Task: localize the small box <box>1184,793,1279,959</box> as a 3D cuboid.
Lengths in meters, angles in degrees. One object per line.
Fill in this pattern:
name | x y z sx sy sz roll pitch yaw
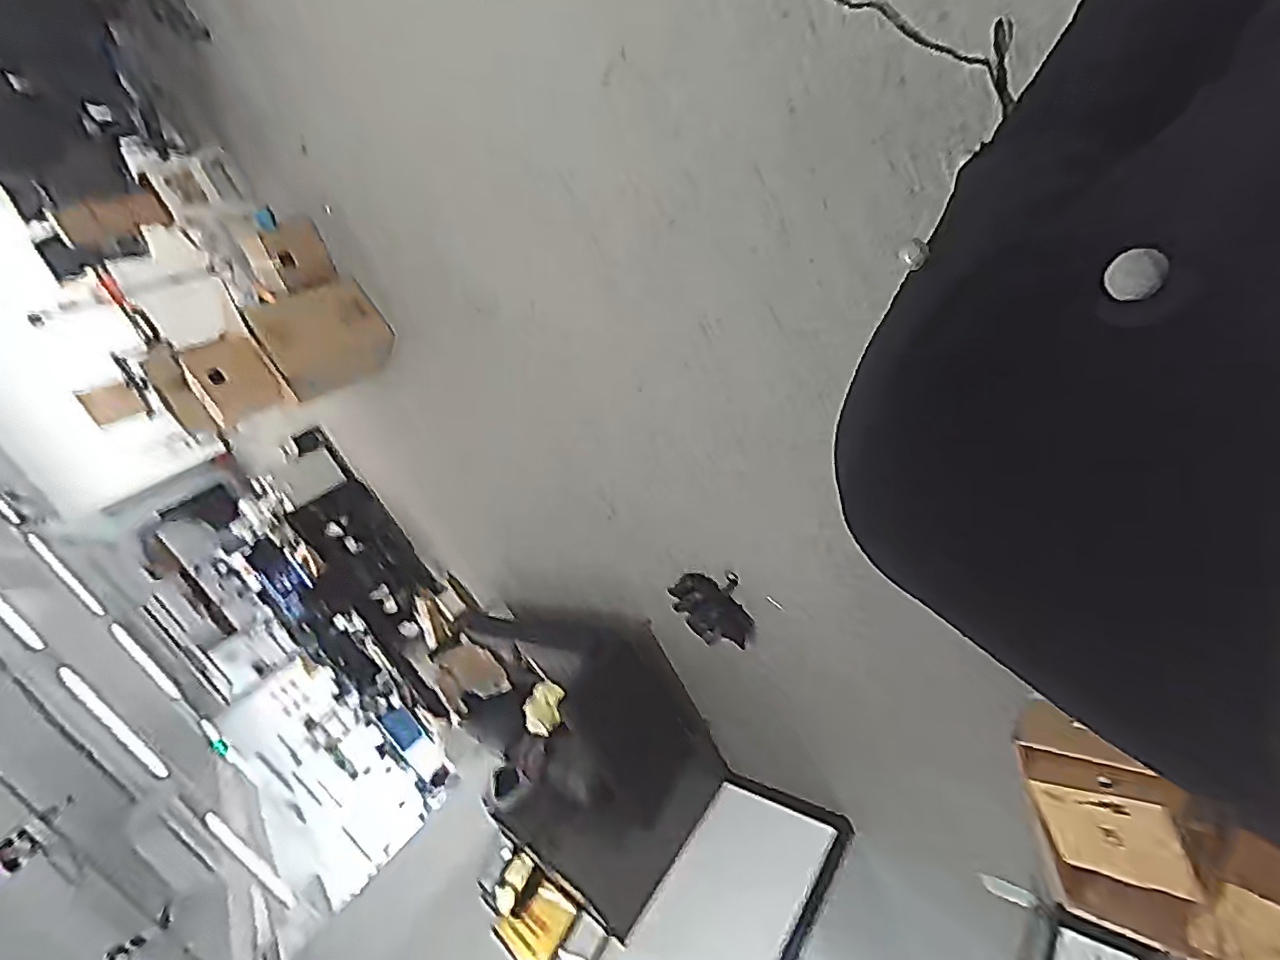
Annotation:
small box | 0.919 0.603 0.771 0.168 0.176 0.179 16 125 39
